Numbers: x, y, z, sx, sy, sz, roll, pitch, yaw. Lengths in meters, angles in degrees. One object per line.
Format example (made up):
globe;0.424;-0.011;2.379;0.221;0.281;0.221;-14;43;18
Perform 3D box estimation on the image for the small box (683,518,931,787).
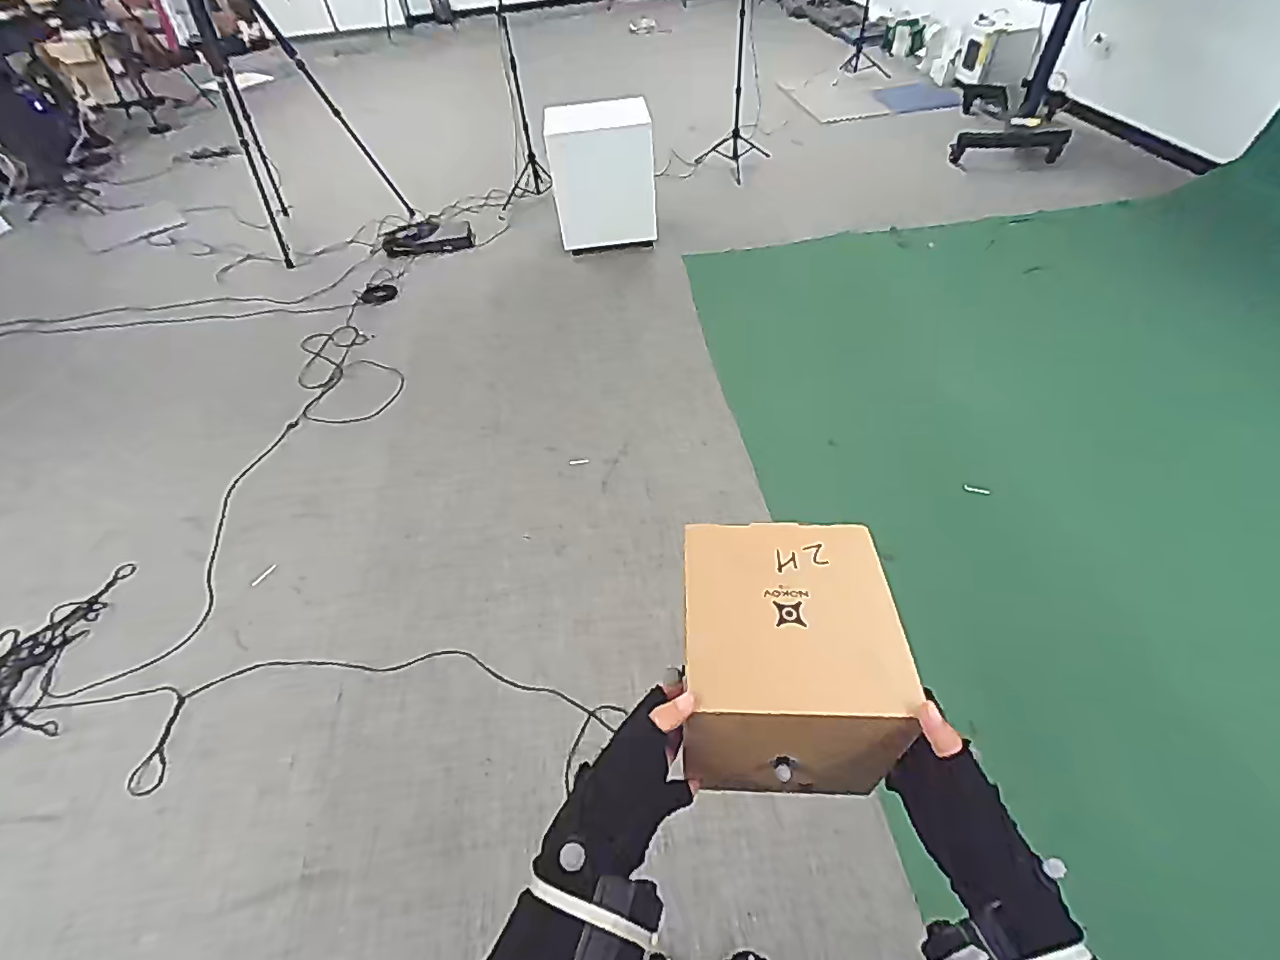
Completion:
small box;0.123;0.153;0.479;0.168;0.176;0.179;0;44;3
